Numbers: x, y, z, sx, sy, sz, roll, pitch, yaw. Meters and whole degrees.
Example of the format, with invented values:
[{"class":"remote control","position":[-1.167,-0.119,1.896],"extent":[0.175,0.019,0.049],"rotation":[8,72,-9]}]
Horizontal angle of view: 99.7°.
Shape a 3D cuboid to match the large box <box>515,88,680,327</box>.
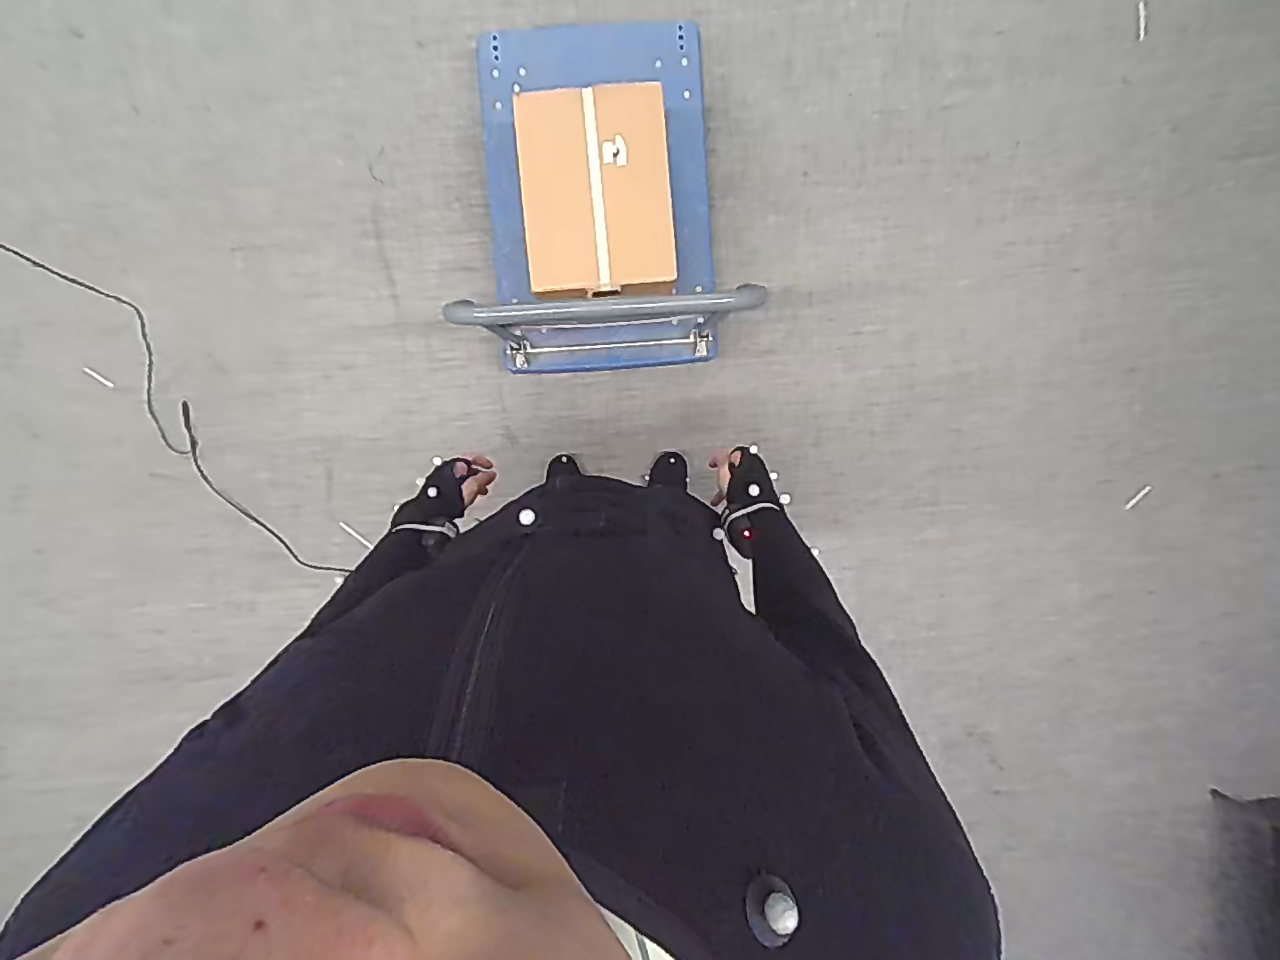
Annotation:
[{"class":"large box","position":[-0.089,-0.609,1.278],"extent":[0.320,0.320,0.408],"rotation":[-5,93,-1]}]
